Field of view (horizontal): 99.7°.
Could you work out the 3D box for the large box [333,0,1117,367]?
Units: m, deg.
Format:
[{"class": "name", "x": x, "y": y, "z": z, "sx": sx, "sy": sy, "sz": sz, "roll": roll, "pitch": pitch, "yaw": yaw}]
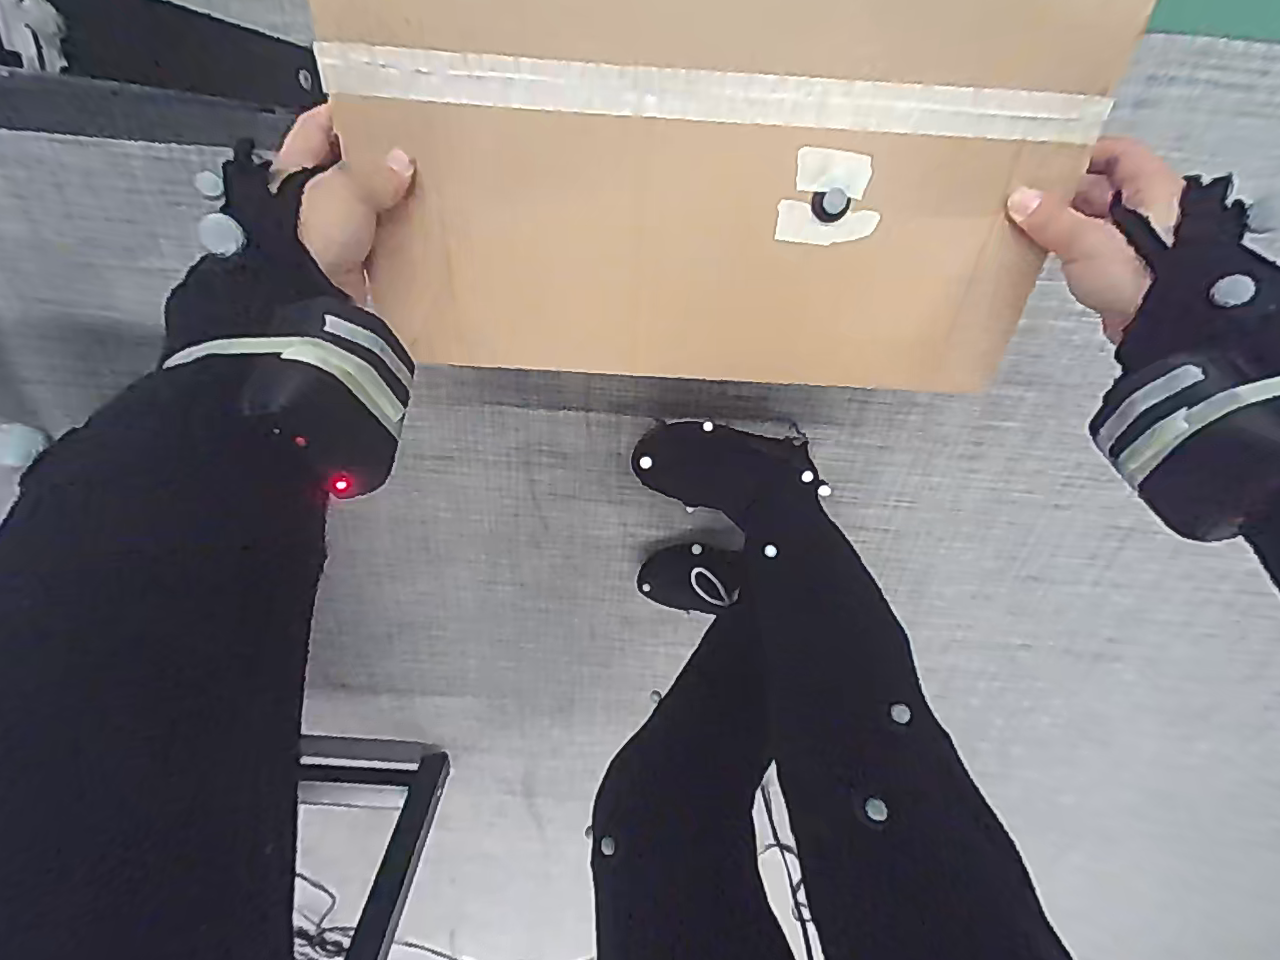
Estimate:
[{"class": "large box", "x": 0.038, "y": -0.291, "z": 0.420, "sx": 0.408, "sy": 0.320, "sz": 0.320, "roll": 1, "pitch": 124, "yaw": -2}]
